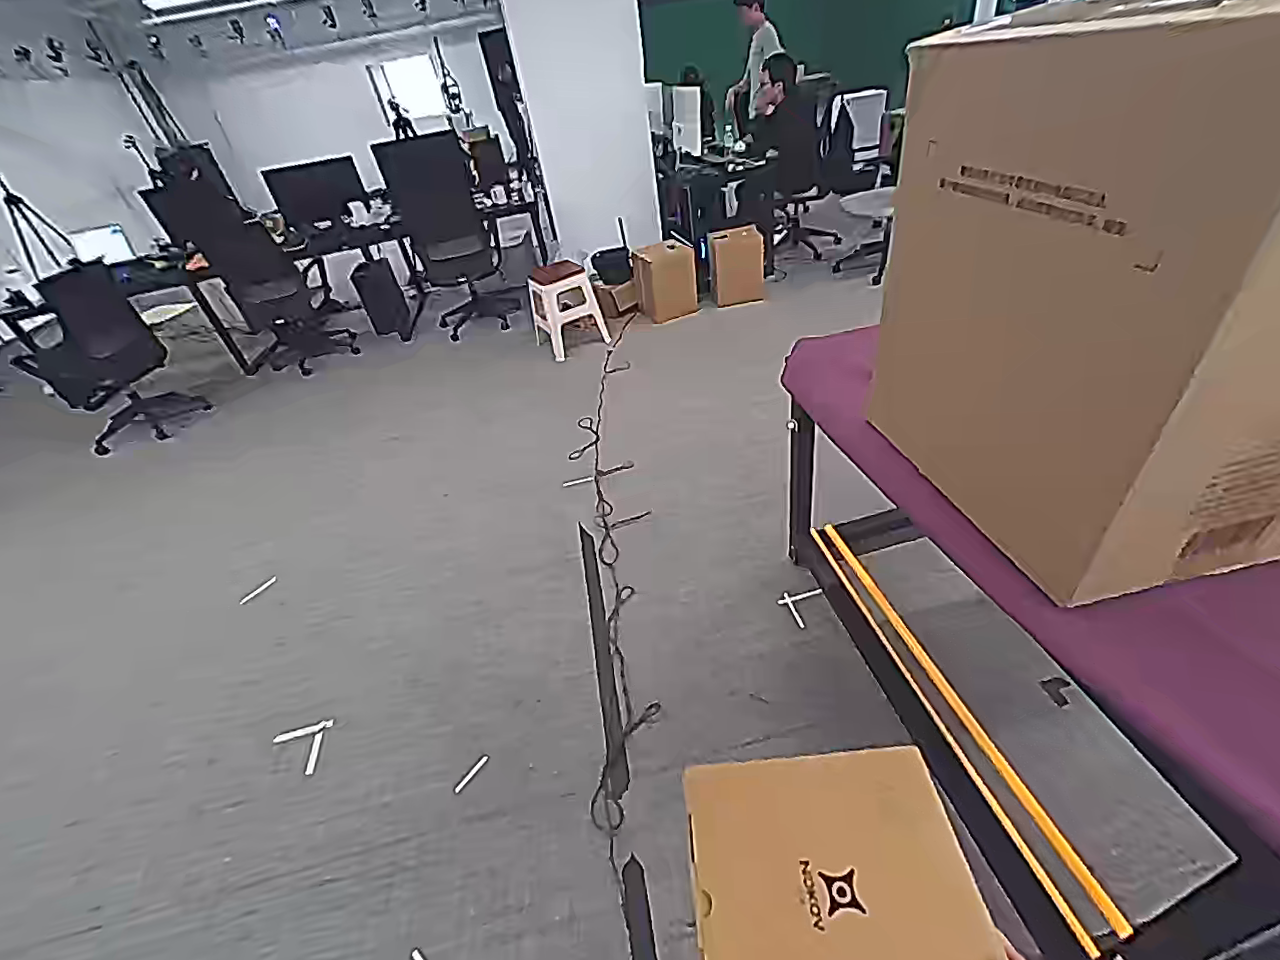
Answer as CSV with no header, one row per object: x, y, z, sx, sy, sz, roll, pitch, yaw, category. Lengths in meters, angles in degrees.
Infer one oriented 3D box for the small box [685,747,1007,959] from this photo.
0.129,0.318,0.392,0.179,0.176,0.168,-7,40,2,small box
